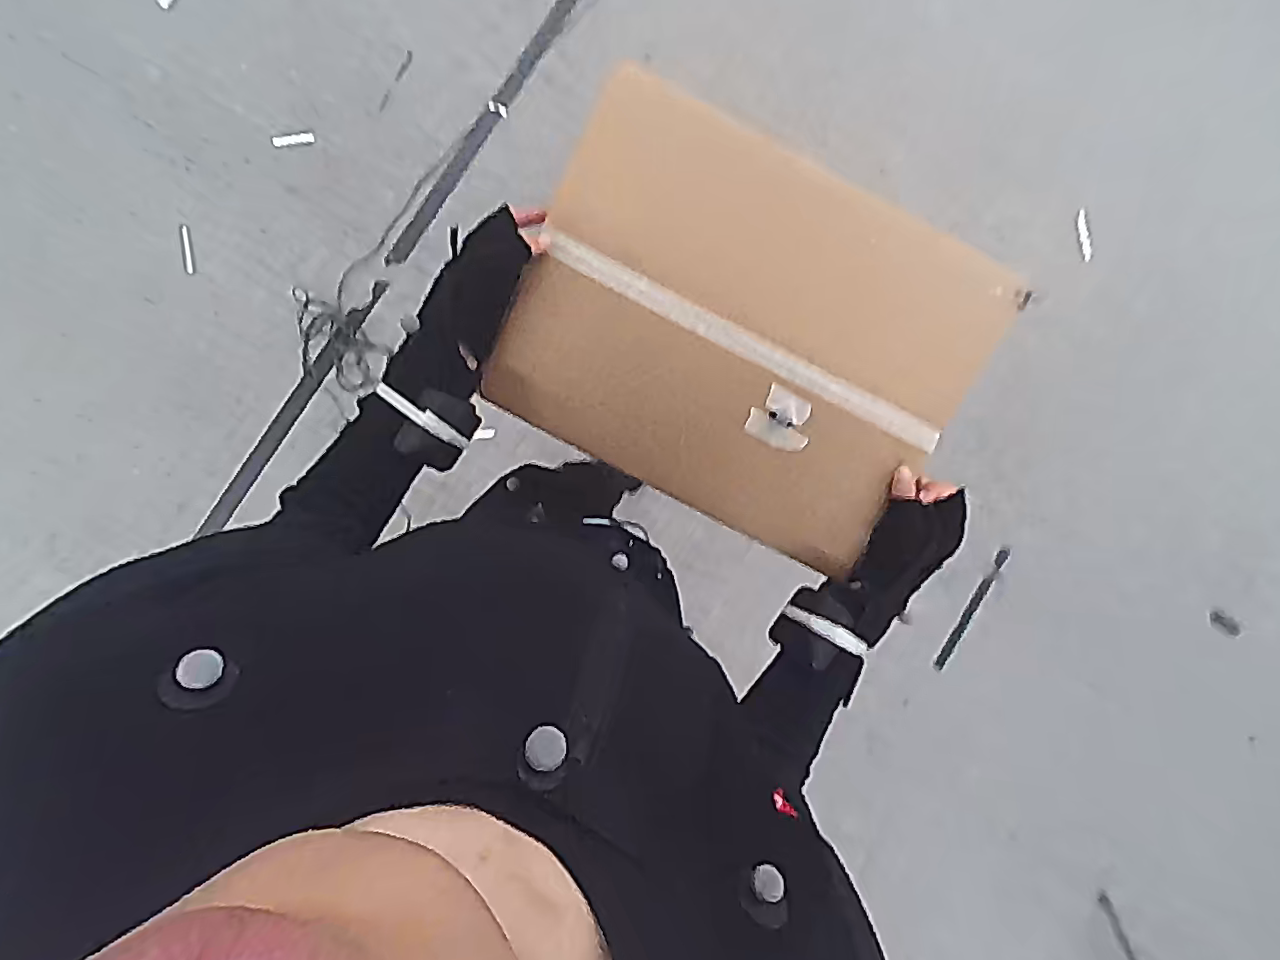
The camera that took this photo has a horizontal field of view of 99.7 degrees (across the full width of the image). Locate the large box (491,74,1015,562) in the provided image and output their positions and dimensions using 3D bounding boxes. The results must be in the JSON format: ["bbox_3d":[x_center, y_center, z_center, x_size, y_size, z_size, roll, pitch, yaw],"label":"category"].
[{"bbox_3d":[0.101,-0.163,0.651,0.408,0.320,0.320,27,101,-3],"label":"large box"}]
